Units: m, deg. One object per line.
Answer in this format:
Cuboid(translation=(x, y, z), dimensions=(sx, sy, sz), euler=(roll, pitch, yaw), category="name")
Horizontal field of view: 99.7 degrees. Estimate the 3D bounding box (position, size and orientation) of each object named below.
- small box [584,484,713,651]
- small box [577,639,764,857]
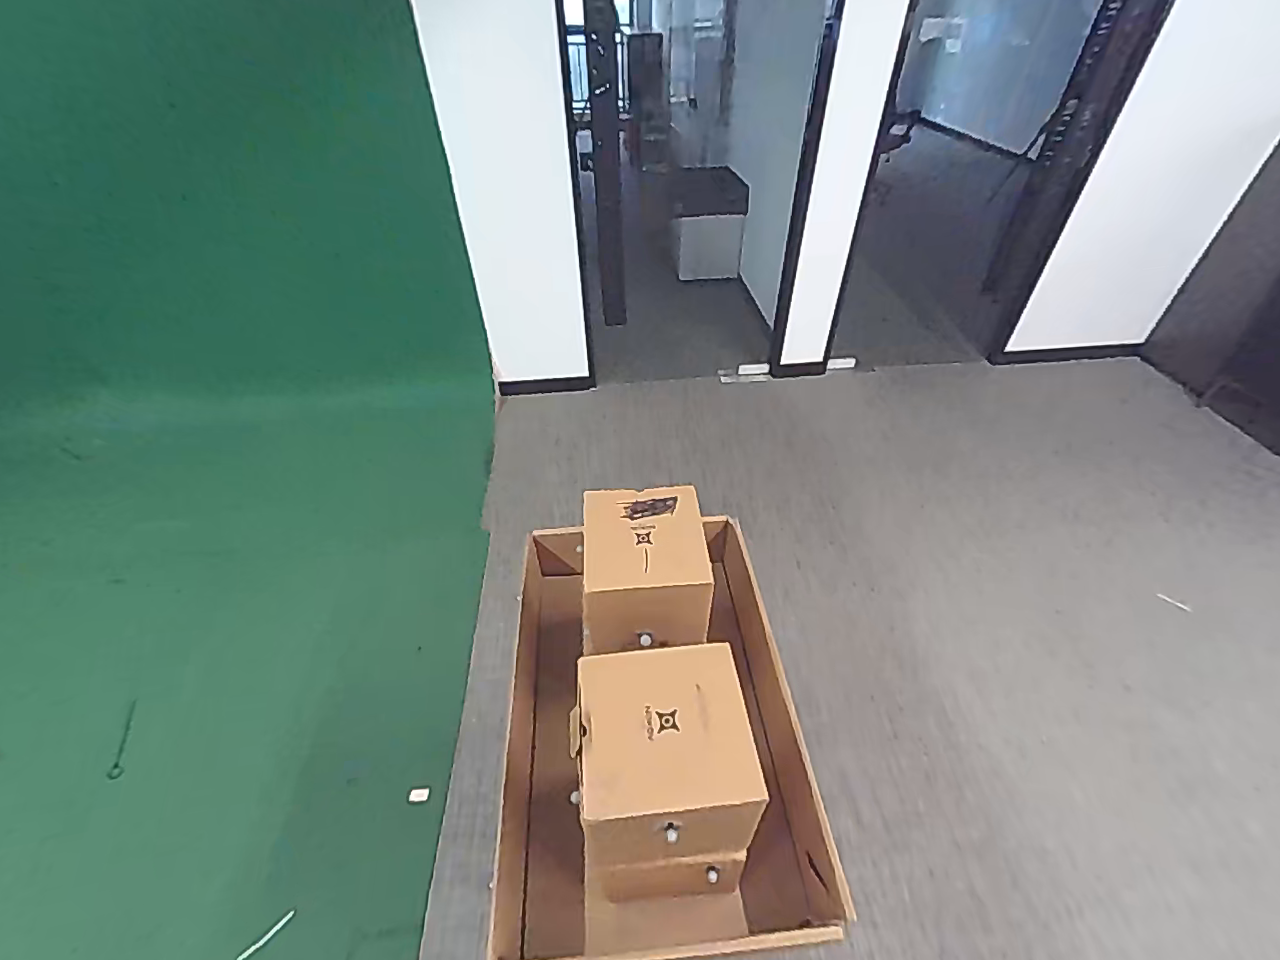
Cuboid(translation=(0.006, 0.127, 0.792), dimensions=(0.168, 0.176, 0.179), euler=(-4, 46, -2), category="small box")
Cuboid(translation=(0.025, 0.303, 0.611), dimensions=(0.179, 0.176, 0.168), euler=(-5, 44, -5), category="small box")
